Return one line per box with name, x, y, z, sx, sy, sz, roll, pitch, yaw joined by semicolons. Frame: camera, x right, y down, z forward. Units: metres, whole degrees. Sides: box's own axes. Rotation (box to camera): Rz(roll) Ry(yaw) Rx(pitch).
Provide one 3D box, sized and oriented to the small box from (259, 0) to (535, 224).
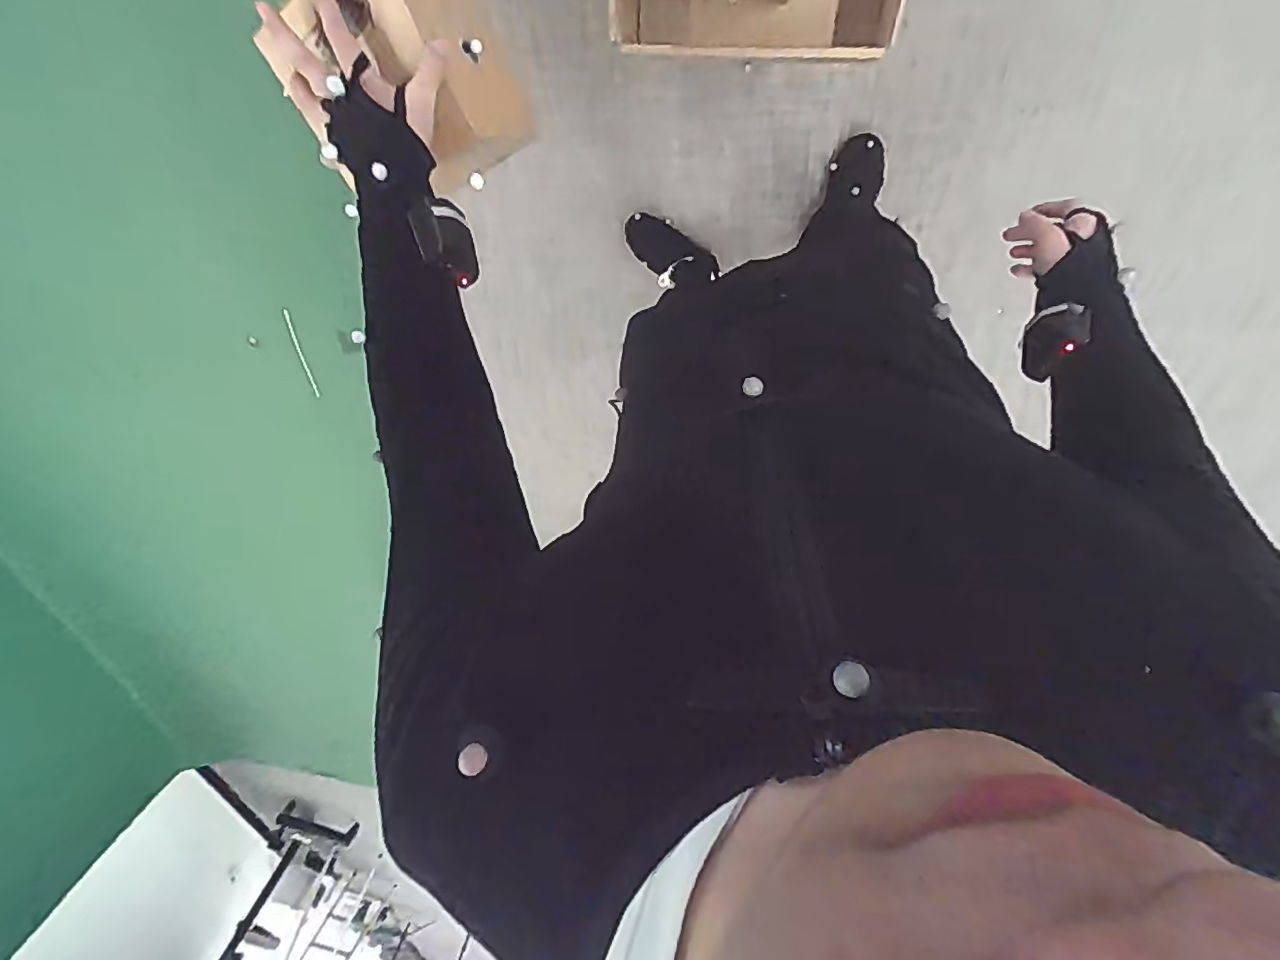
small box;-0.249;-0.414;0.594;0.168;0.176;0.179;-17;117;27
